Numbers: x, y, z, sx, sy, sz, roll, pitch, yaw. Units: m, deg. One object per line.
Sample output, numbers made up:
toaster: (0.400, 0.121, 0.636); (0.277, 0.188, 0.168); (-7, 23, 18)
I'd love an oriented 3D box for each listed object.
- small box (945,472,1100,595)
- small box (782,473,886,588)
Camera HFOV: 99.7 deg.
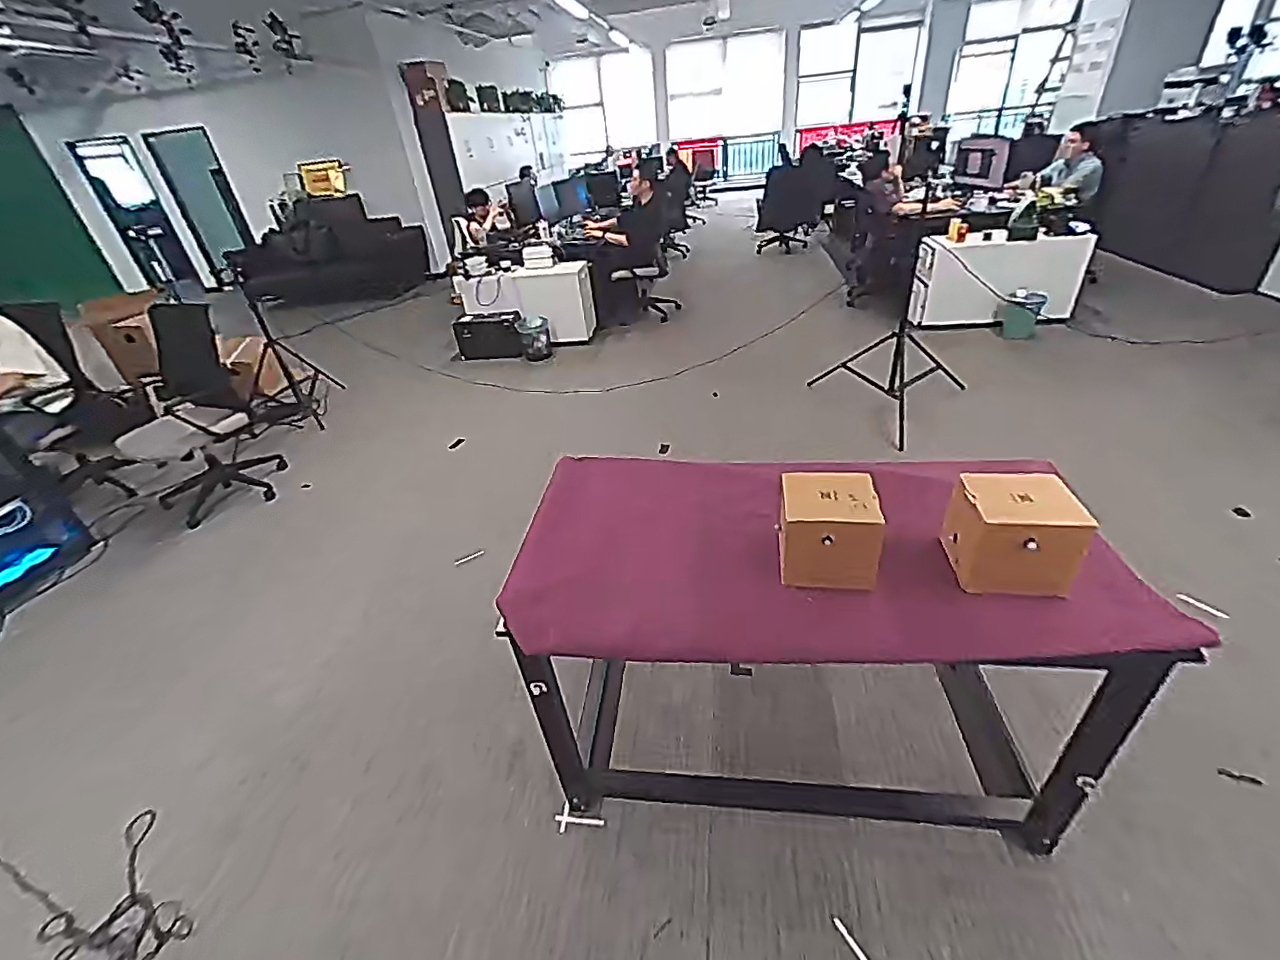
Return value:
small box: (0.707, 0.101, 1.024); (0.179, 0.176, 0.168); (0, 33, 12)
small box: (0.377, 0.101, 1.085); (0.179, 0.176, 0.168); (1, 34, 12)
